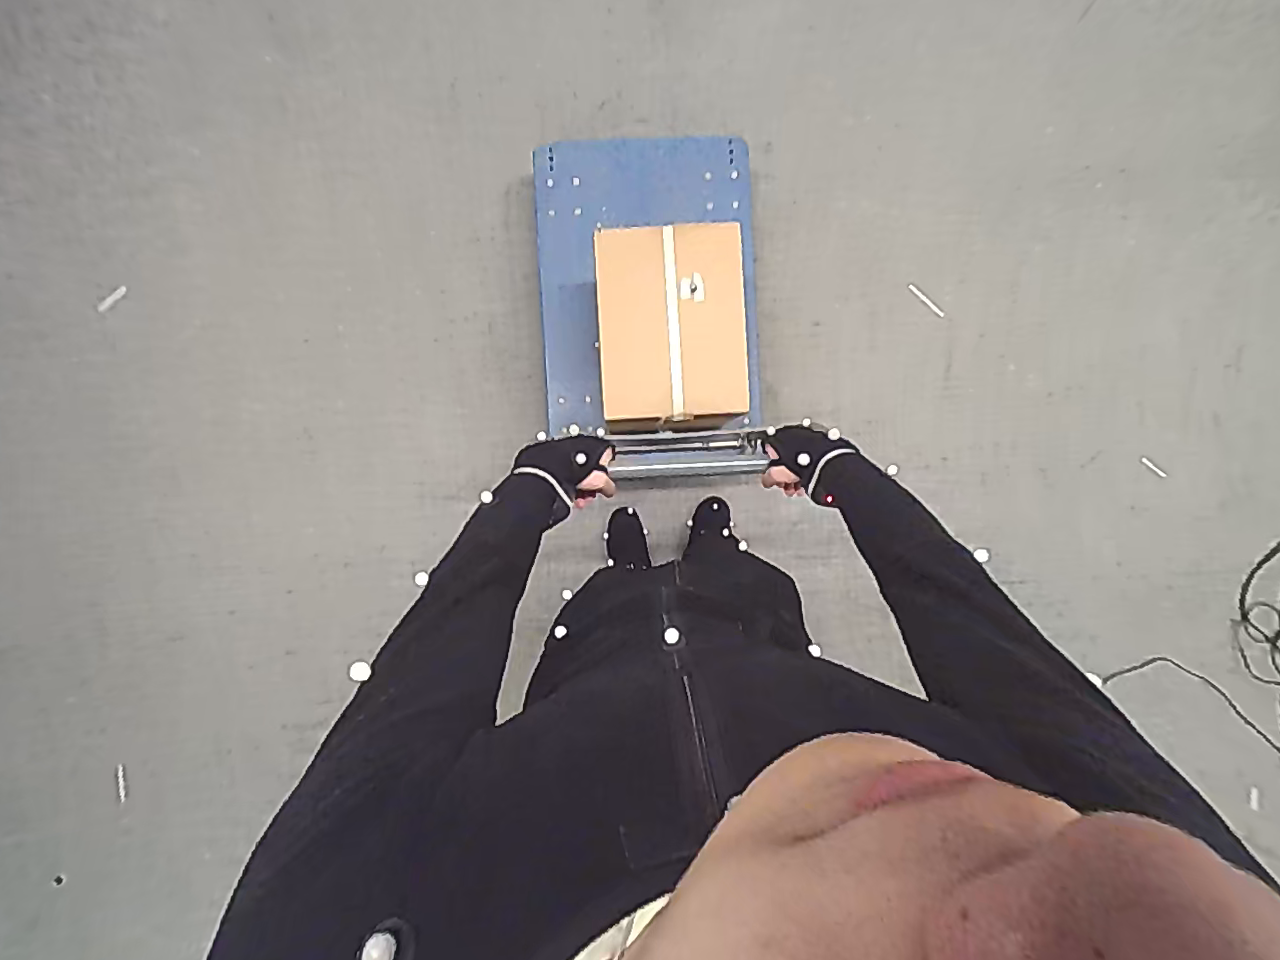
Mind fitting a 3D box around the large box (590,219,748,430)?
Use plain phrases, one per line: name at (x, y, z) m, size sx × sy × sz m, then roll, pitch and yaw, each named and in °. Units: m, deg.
large box at (0.059, -0.343, 1.291) m, size 0.320 × 0.320 × 0.408 m, roll -4°, pitch 90°, yaw -2°
